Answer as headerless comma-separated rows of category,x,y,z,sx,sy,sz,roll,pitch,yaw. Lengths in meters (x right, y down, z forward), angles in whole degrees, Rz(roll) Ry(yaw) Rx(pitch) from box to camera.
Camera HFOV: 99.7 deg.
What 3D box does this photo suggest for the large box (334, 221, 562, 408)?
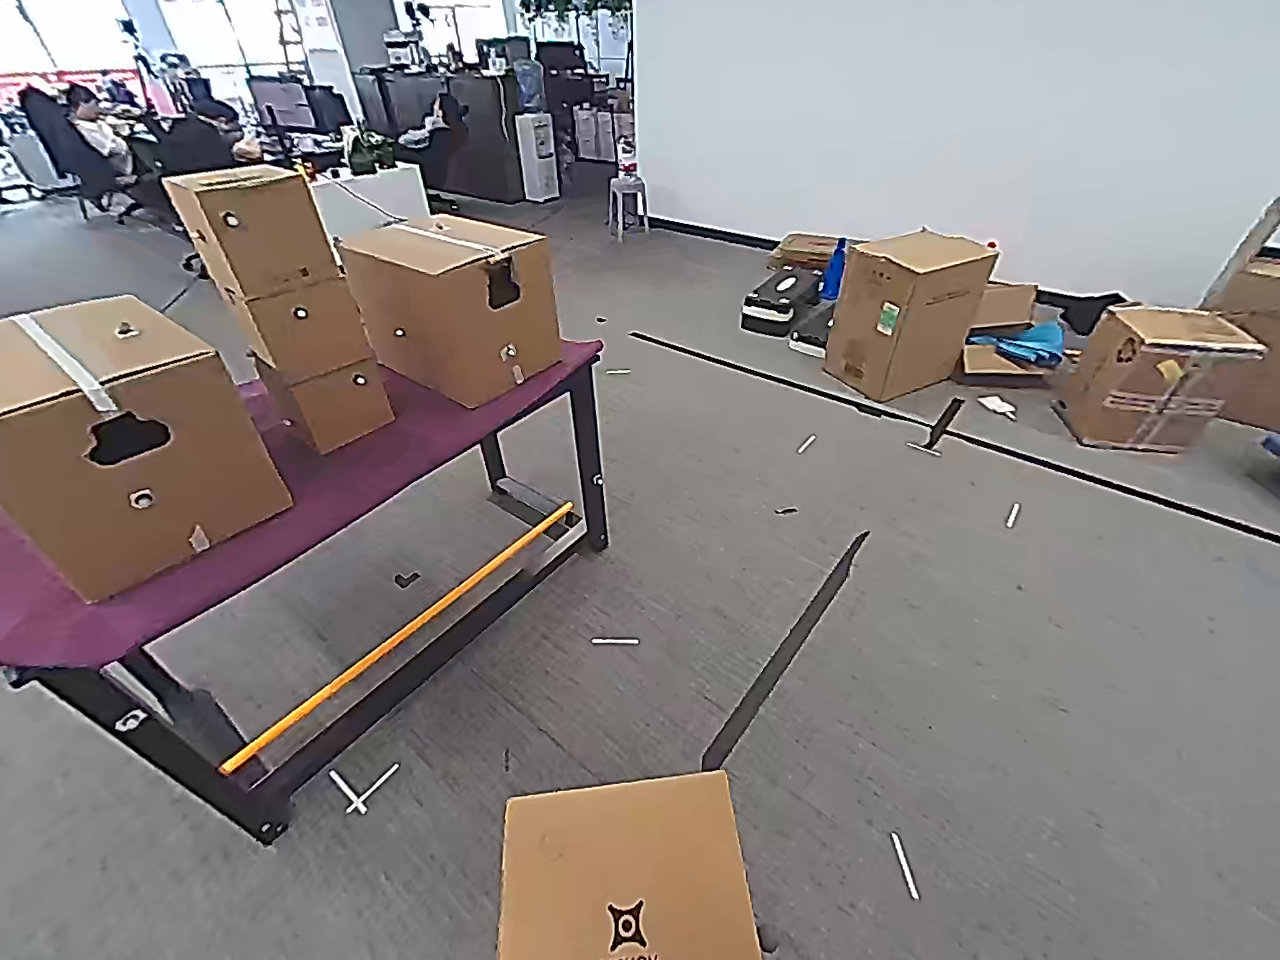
large box,-0.455,-0.420,1.338,0.408,0.320,0.320,24,45,30
